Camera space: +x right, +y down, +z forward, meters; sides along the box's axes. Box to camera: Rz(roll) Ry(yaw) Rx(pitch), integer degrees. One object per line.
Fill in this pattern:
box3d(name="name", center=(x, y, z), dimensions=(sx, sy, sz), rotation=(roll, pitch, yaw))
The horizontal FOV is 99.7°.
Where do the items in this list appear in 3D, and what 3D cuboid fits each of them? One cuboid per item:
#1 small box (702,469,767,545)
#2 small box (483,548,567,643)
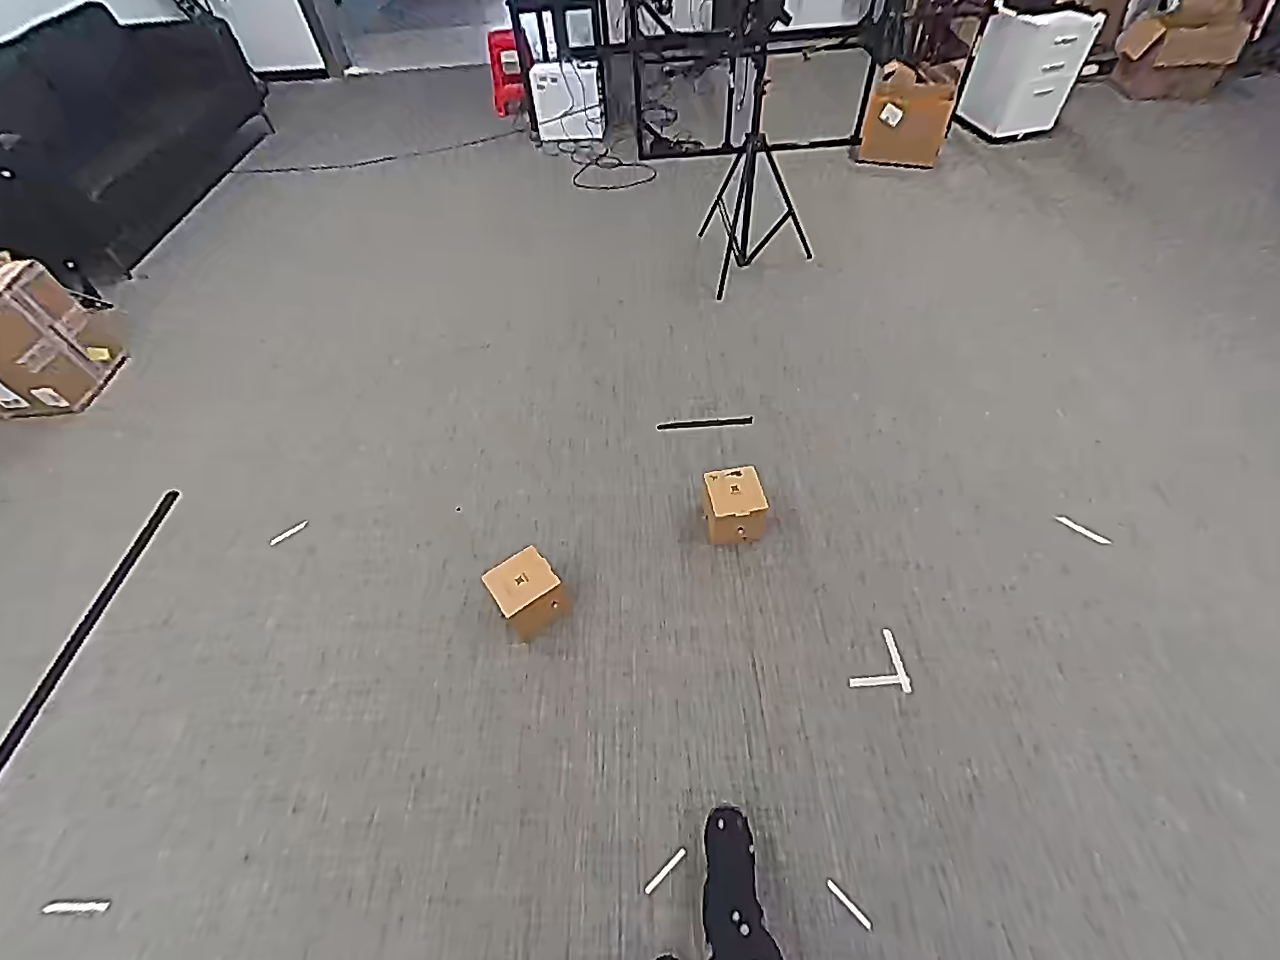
box3d(name="small box", center=(0.296, 0.093, 1.726), dimensions=(0.168, 0.176, 0.179), rotation=(-8, 52, -3))
box3d(name="small box", center=(-0.327, 0.340, 1.578), dimensions=(0.179, 0.176, 0.168), rotation=(-33, 55, -20))
